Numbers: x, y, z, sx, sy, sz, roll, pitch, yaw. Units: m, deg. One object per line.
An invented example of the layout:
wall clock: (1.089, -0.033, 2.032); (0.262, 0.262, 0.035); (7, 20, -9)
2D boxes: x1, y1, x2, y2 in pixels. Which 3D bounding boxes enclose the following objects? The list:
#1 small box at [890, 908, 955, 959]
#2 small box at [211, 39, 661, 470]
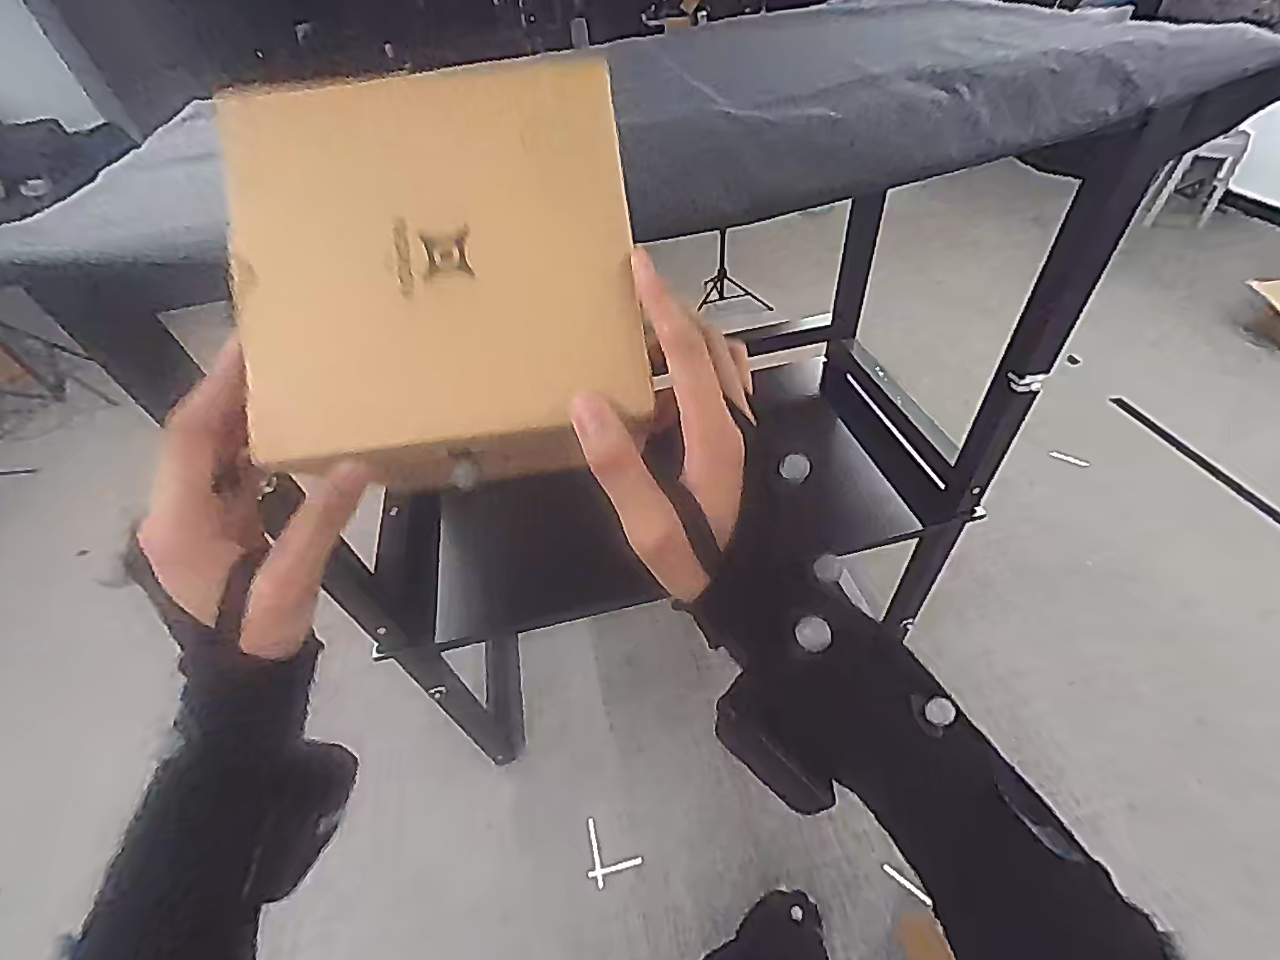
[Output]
small box: (0.648, 0.984, 1.108); (0.179, 0.176, 0.168); (-13, 47, -5)
small box: (-0.090, -0.099, 0.310); (0.179, 0.176, 0.168); (-7, 88, -2)
